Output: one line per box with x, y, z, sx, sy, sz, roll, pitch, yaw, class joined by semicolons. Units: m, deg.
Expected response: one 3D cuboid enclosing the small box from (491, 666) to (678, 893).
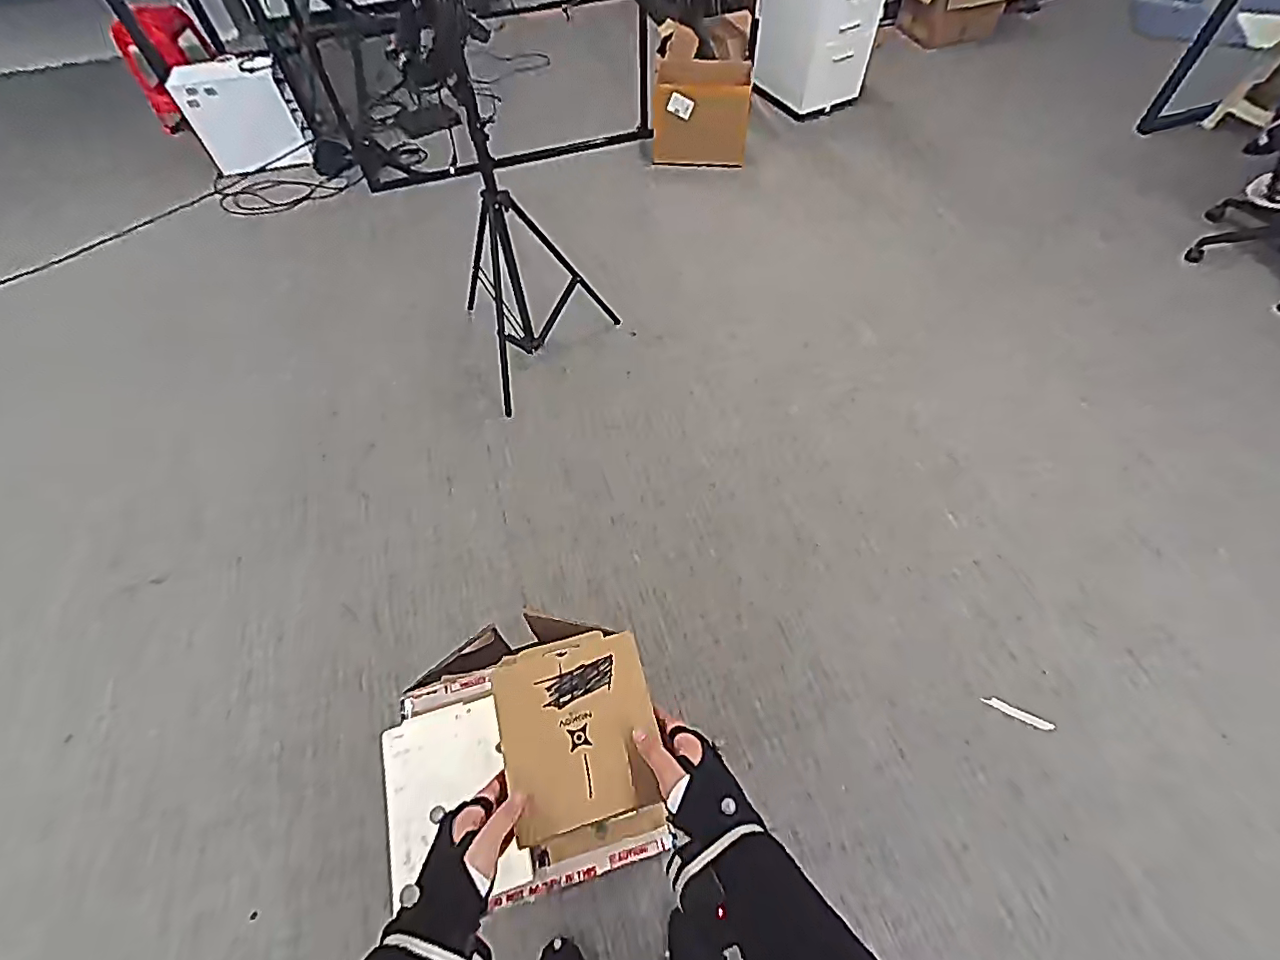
-0.065;0.341;0.627;0.168;0.176;0.179;-14;60;-9;small box
